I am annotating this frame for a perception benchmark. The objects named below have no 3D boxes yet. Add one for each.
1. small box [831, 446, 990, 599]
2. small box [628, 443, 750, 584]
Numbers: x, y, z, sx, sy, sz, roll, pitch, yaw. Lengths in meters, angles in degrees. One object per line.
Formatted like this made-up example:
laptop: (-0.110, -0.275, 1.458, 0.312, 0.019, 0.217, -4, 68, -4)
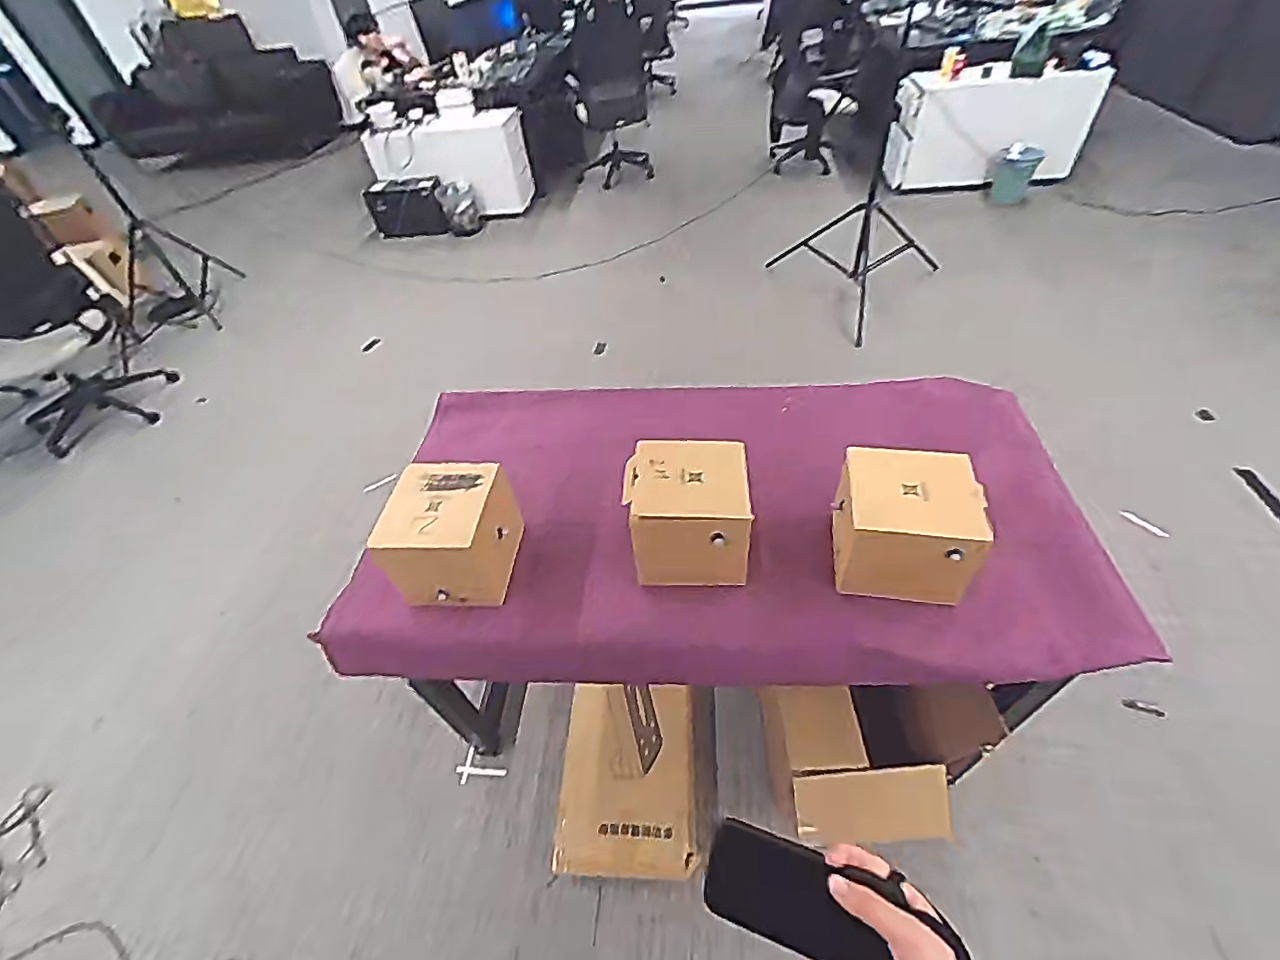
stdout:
small box: (0.395, 0.067, 0.830, 0.179, 0.176, 0.168, 4, 47, 11)
small box: (0.081, 0.057, 0.880, 0.179, 0.176, 0.168, -2, 44, 6)
